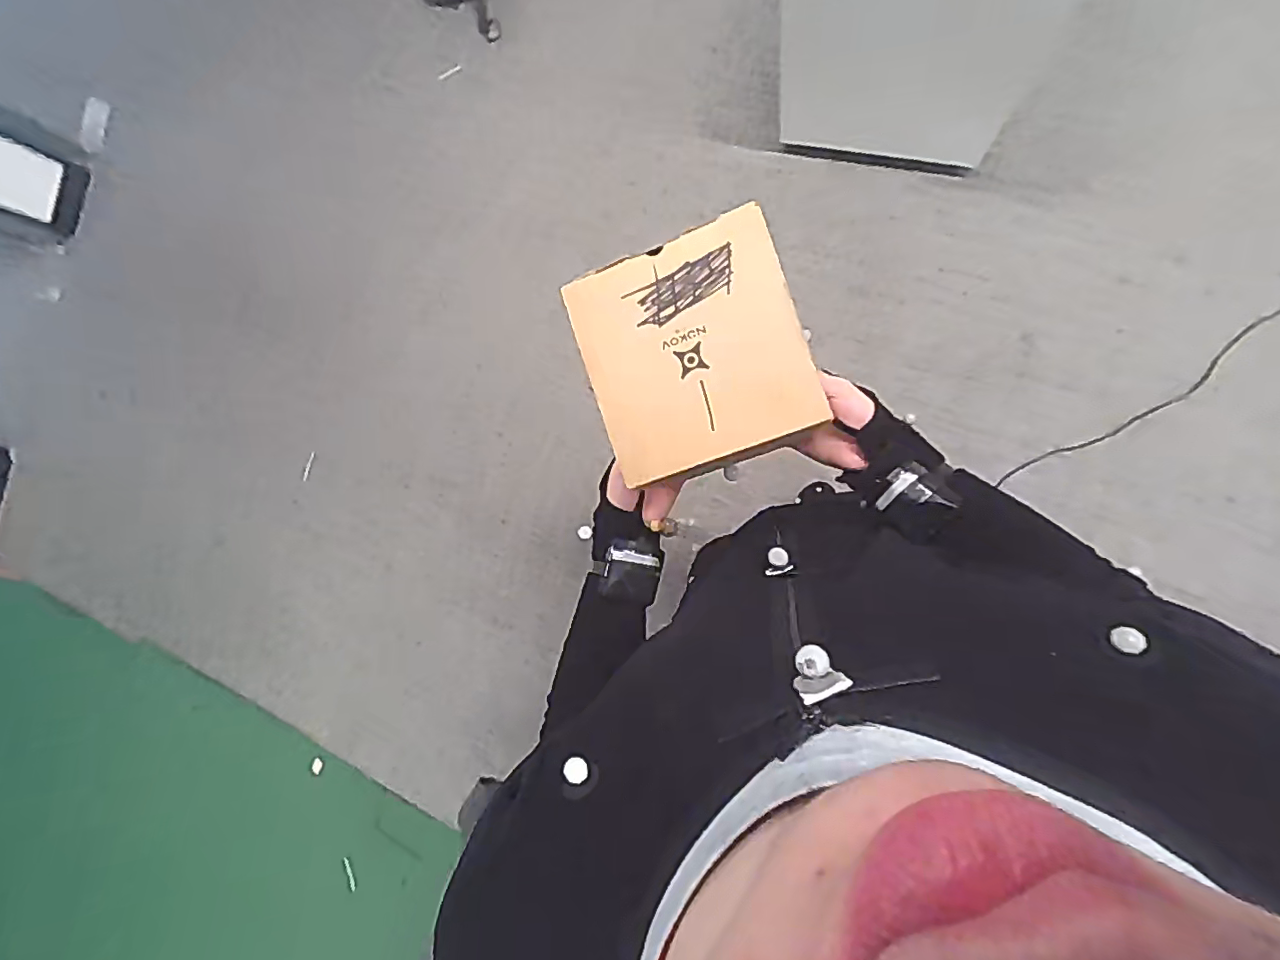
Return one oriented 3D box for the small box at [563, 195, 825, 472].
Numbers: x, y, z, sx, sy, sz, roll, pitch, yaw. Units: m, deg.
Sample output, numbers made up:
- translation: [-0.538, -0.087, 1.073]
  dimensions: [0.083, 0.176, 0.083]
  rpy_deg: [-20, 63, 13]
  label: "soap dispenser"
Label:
- translation: [0.052, -0.111, 0.492]
  dimensions: [0.168, 0.176, 0.179]
  rpy_deg: [-17, 88, 12]
  label: "small box"
